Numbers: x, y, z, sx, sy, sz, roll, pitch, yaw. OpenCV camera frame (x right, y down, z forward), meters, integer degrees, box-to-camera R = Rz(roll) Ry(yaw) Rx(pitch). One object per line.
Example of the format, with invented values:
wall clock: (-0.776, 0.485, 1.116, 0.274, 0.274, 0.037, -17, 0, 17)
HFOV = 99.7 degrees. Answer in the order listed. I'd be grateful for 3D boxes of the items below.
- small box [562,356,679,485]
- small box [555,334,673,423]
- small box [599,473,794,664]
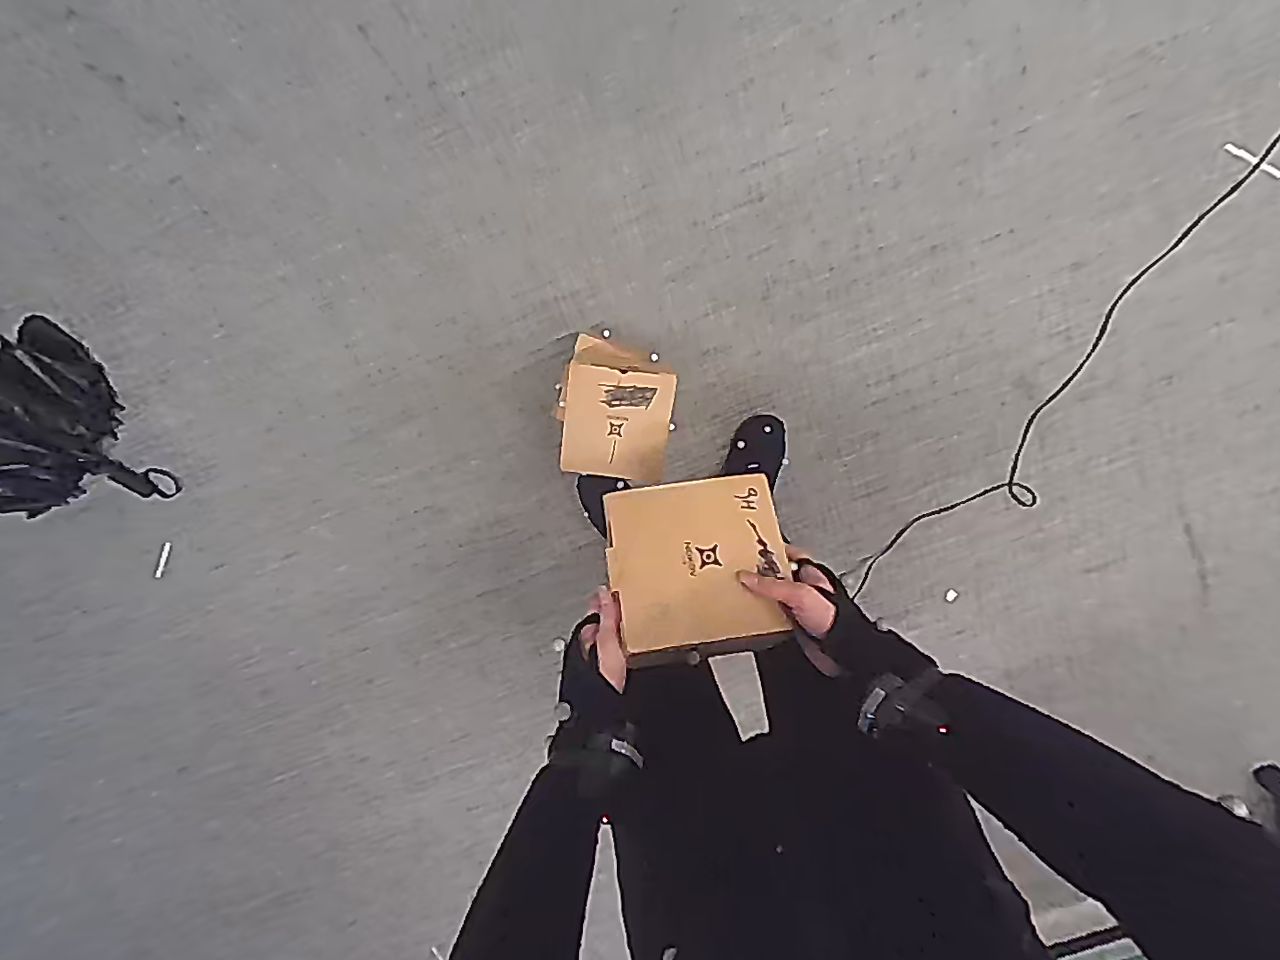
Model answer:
small box: (-0.034, -0.108, 0.914, 0.168, 0.176, 0.179, 7, 109, -2)
small box: (-0.051, -0.181, 1.063, 0.179, 0.176, 0.168, 19, 107, -7)
small box: (0.056, 0.109, 0.615, 0.179, 0.176, 0.168, -8, 67, -1)
